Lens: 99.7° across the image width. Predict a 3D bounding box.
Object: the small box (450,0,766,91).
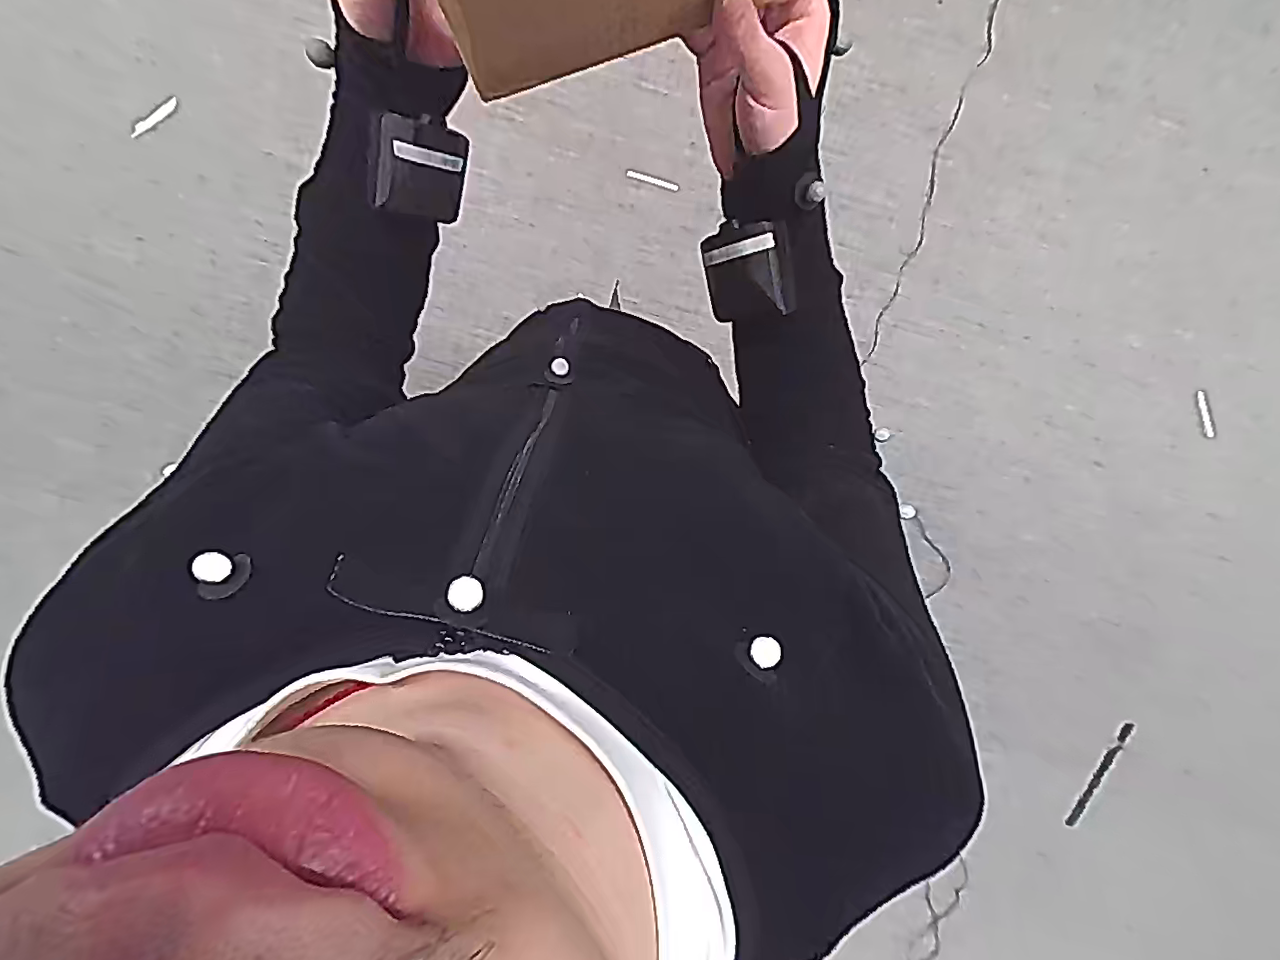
[{"bbox_3d":[-0.018,-0.289,0.201,0.179,0.176,0.168,-19,105,0],"label":"small box"}]
